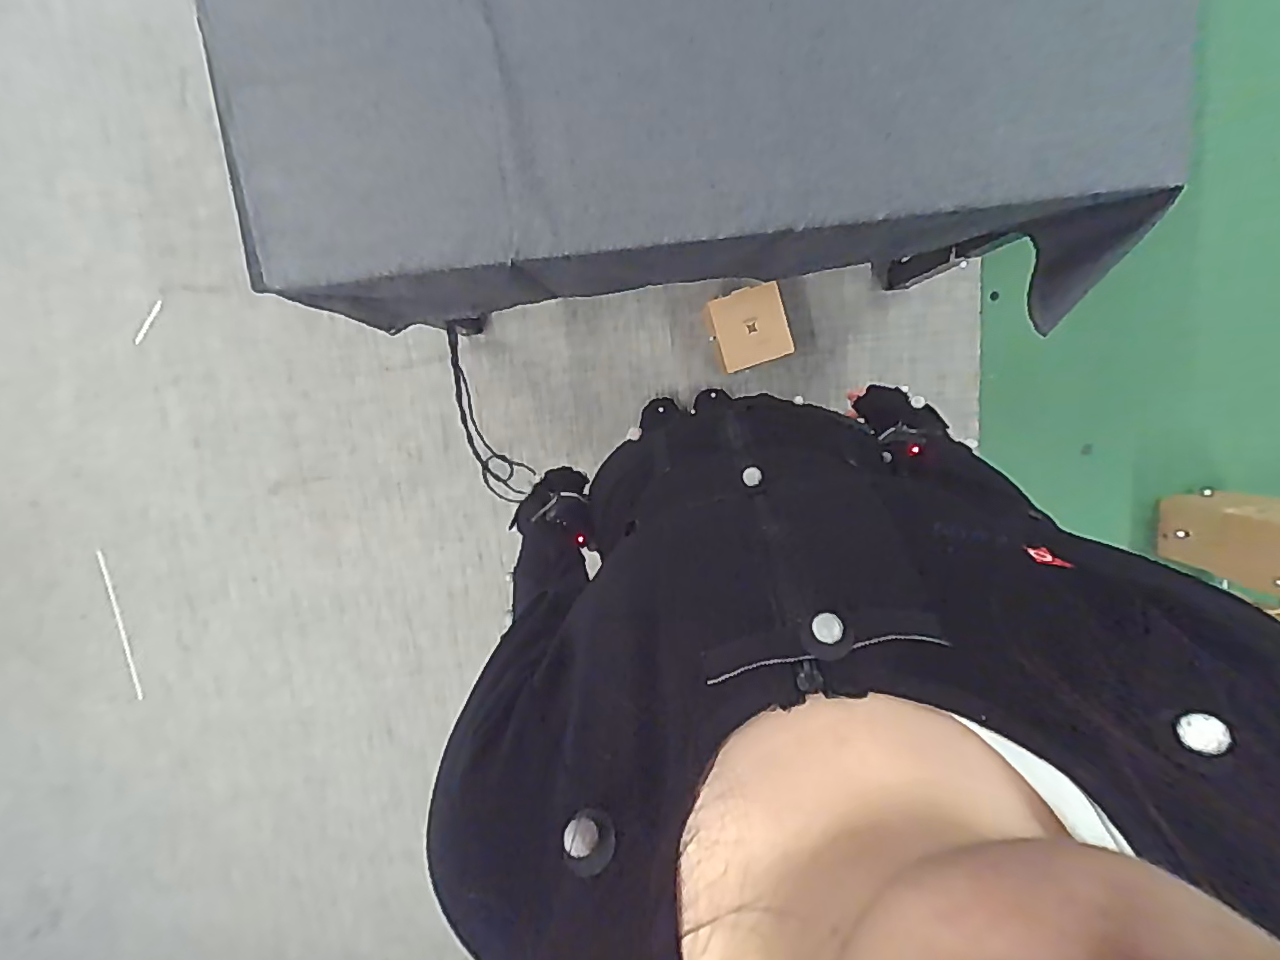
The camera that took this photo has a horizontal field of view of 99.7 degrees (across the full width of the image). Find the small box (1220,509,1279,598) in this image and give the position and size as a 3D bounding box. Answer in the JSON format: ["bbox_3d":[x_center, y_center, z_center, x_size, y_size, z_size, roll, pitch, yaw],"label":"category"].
[{"bbox_3d":[1.467,0.166,1.210,0.168,0.176,0.179,-8,99,3],"label":"small box"}]

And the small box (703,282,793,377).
[{"bbox_3d":[0.260,-0.363,1.337,0.168,0.176,0.179,-17,97,5],"label":"small box"}]
